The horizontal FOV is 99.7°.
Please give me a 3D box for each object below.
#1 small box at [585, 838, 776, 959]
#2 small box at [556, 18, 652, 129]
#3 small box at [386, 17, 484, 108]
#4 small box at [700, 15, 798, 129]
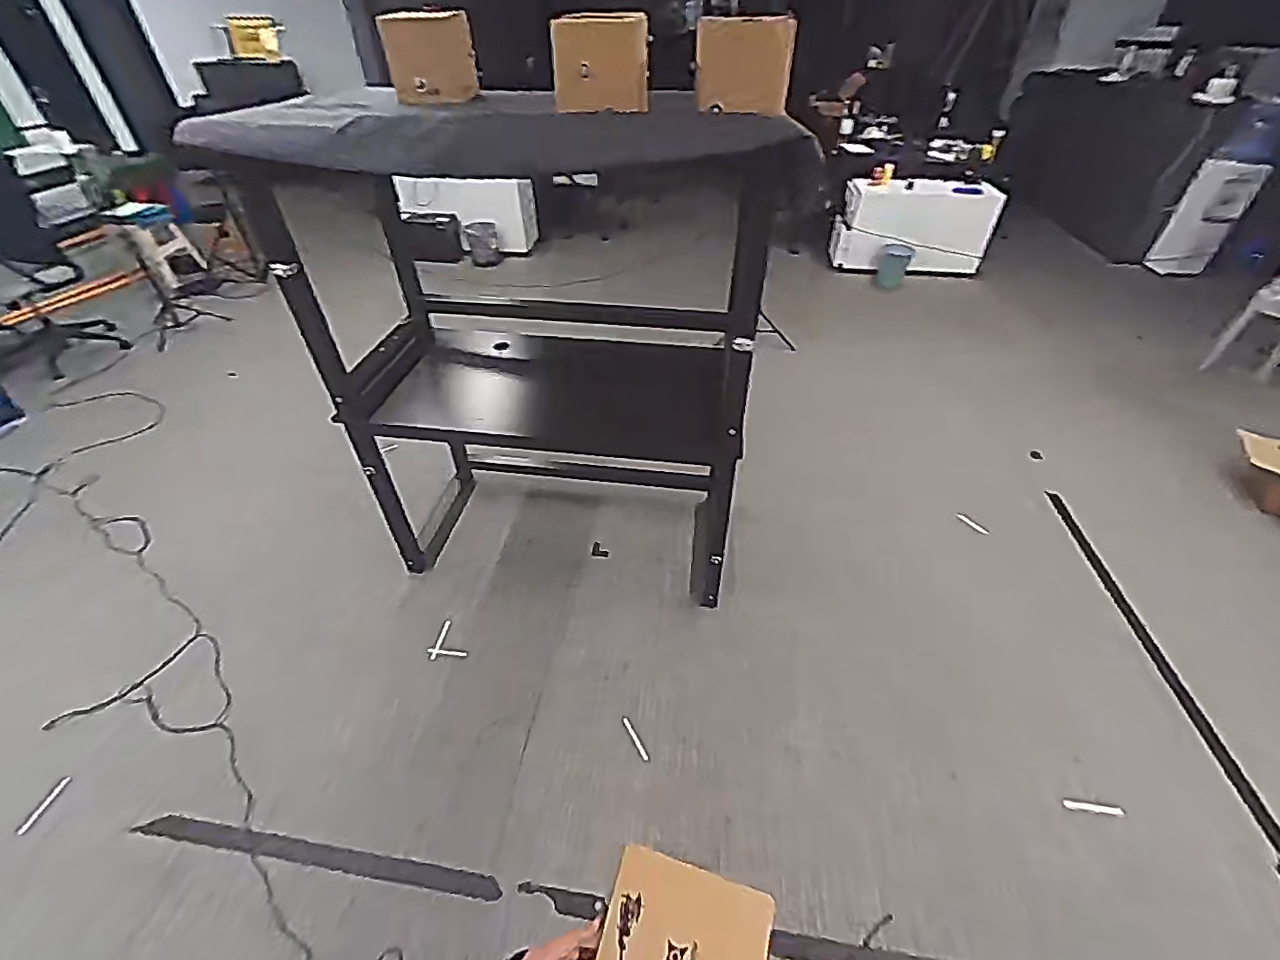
[{"bbox_3d":[0.036,0.540,0.615,0.179,0.176,0.168,17,49,7],"label":"small box"},{"bbox_3d":[-0.065,-0.830,1.107,0.168,0.176,0.179,3,41,5],"label":"small box"},{"bbox_3d":[-0.501,-1.046,1.353,0.168,0.176,0.179,0,42,2],"label":"small box"},{"bbox_3d":[0.206,-0.804,1.071,0.168,0.176,0.179,1,40,2],"label":"small box"}]
